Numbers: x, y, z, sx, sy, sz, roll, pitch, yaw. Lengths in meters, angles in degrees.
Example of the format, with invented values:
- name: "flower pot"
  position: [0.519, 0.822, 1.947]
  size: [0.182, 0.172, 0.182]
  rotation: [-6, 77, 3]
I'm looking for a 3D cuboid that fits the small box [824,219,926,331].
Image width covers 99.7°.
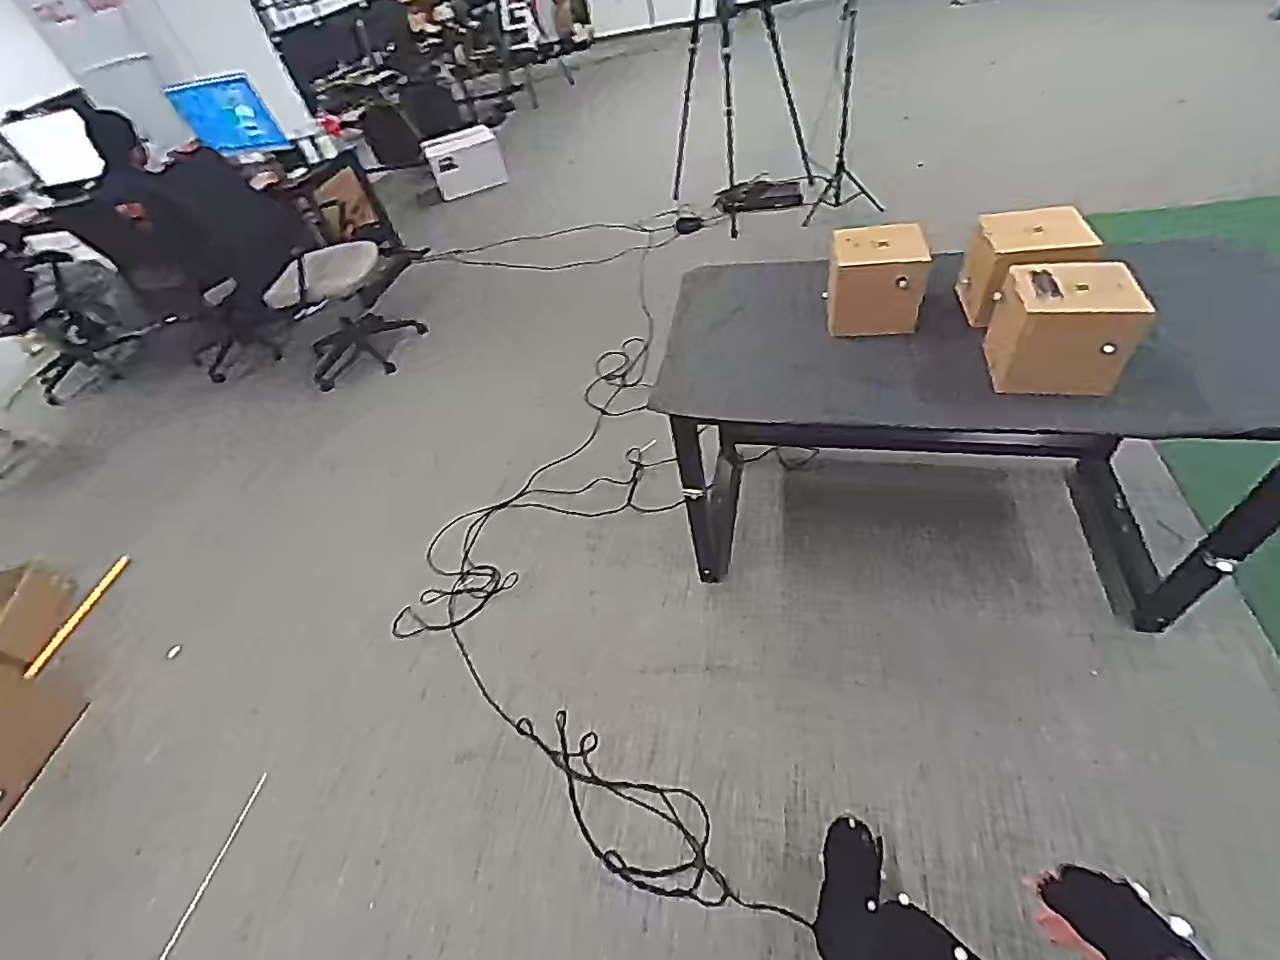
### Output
- name: "small box"
  position: [0.500, -0.440, 1.176]
  size: [0.179, 0.176, 0.168]
  rotation: [1, 49, 15]

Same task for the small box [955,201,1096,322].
- name: "small box"
  position: [0.779, -0.445, 1.115]
  size: [0.179, 0.176, 0.168]
  rotation: [0, 49, 15]
